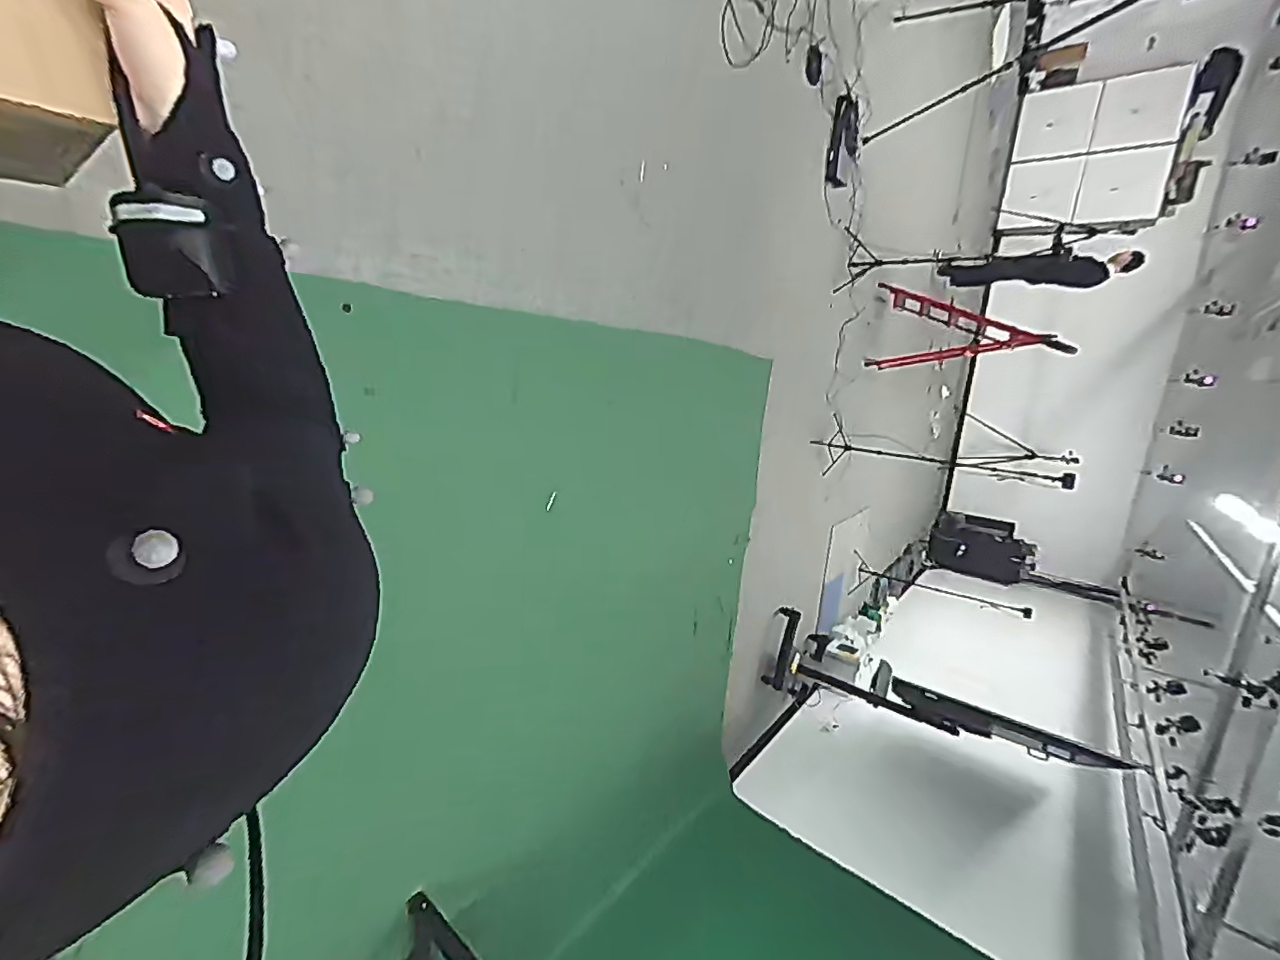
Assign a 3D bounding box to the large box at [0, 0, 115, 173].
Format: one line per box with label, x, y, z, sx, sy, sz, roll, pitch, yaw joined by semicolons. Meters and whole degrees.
large box;-0.579;-0.382;0.254;0.408;0.320;0.320;-15;114;-50
